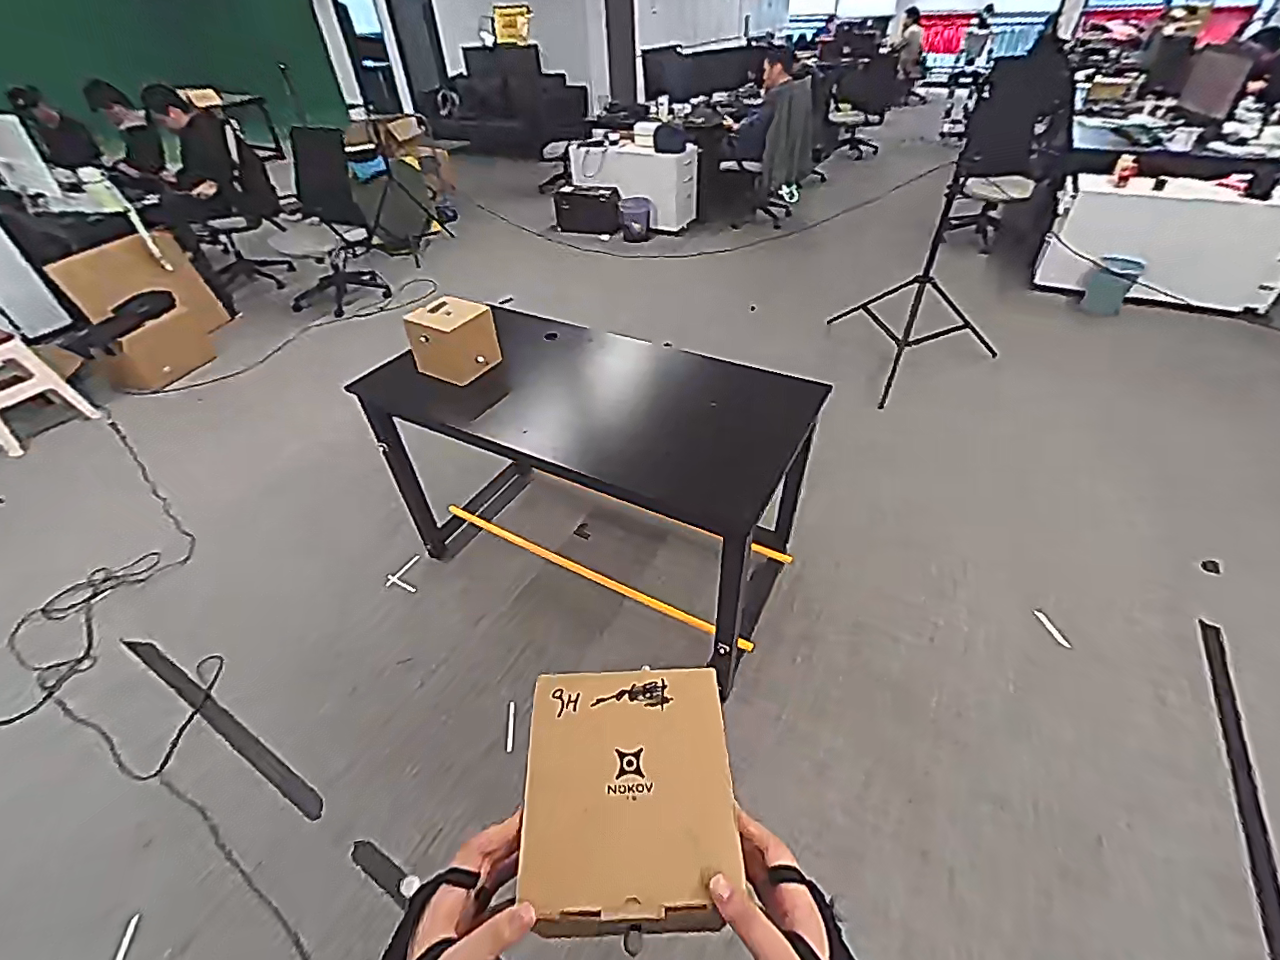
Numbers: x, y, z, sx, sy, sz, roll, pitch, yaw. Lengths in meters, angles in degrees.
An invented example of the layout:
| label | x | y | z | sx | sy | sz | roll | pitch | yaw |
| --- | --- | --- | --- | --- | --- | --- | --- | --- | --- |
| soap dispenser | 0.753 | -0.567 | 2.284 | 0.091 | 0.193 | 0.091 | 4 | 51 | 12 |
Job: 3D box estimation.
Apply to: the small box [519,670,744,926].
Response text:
| label | x | y | z | sx | sy | sz | roll | pitch | yaw |
| --- | --- | --- | --- | --- | --- | --- | --- | --- | --- |
| small box | -0.008 | 0.296 | 0.499 | 0.168 | 0.176 | 0.179 | -2 | 48 | -2 |

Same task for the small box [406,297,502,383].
| label | x | y | z | sx | sy | sz | roll | pitch | yaw |
| --- | --- | --- | --- | --- | --- | --- | --- | --- | --- |
| small box | -0.519 | -0.395 | 1.532 | 0.179 | 0.176 | 0.168 | 21 | 47 | 23 |
